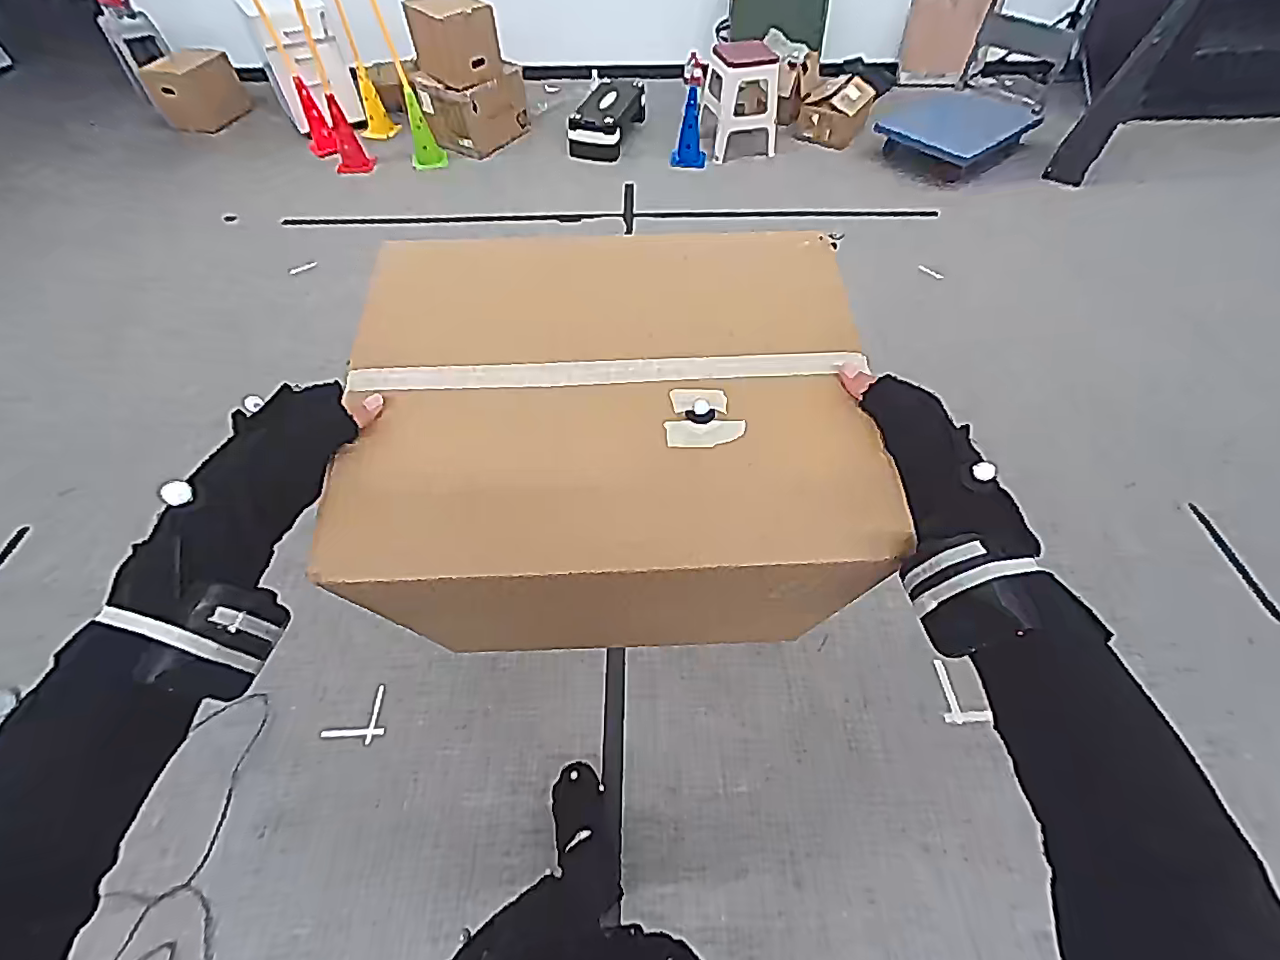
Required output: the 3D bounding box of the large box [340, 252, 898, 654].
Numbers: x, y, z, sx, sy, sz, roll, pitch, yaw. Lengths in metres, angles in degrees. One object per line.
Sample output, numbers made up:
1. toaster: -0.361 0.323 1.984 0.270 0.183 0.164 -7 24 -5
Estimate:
1. large box: -0.022 -0.007 0.577 0.408 0.320 0.320 -2 64 -1
